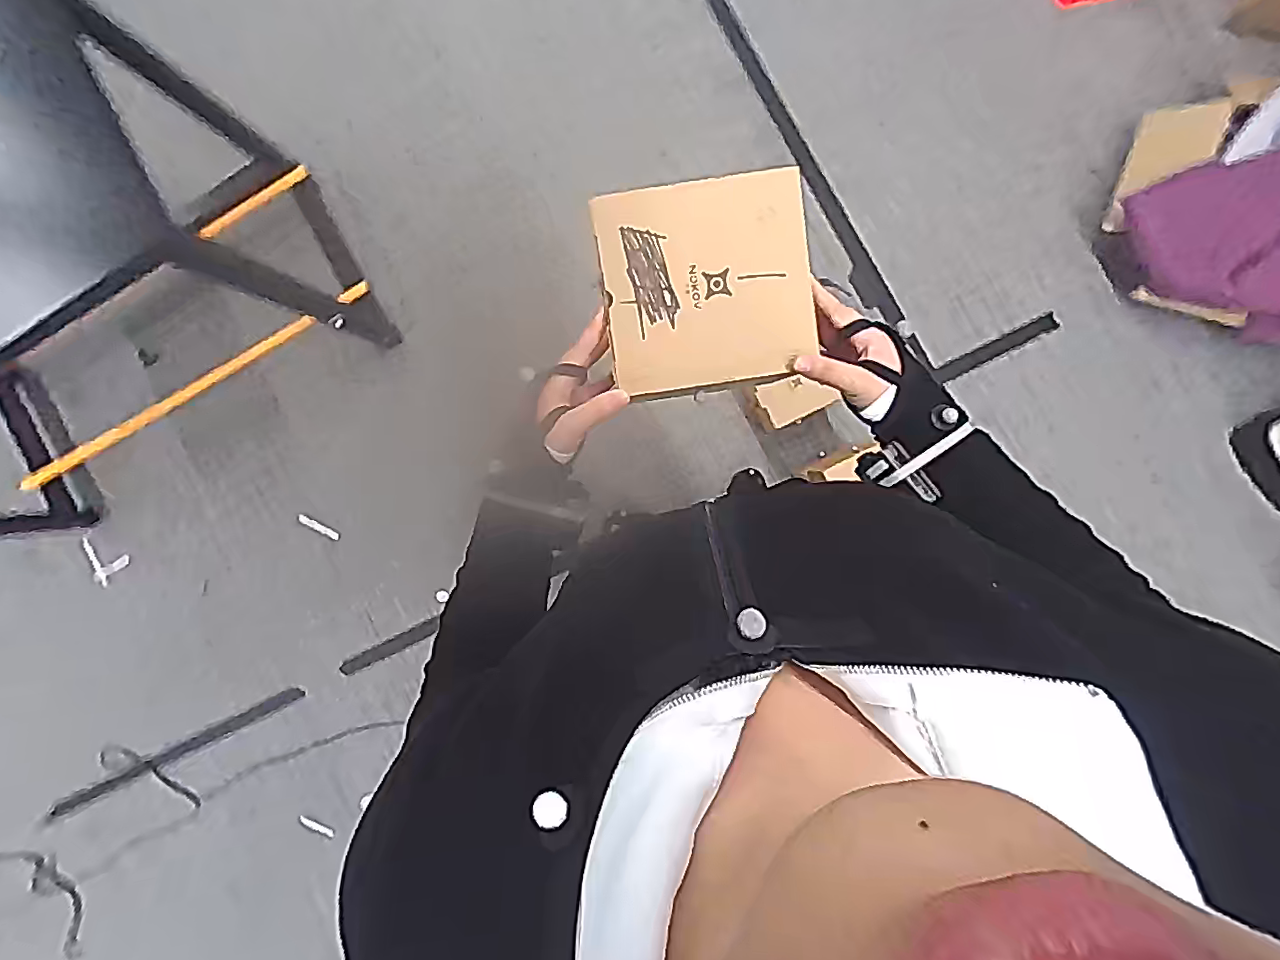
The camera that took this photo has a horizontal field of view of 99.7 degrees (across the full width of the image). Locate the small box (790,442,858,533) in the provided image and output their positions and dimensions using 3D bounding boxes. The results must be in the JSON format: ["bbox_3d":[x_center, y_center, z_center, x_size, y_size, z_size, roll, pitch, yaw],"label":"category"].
[{"bbox_3d":[0.509,0.014,1.386,0.168,0.176,0.179,-29,89,5],"label":"small box"}]

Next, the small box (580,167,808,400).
[{"bbox_3d":[0.047,-0.174,0.533,0.179,0.176,0.168,-9,97,0],"label":"small box"}]

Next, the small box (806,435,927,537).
[{"bbox_3d":[0.502,0.009,1.223,0.179,0.176,0.168,-27,88,7],"label":"small box"}]

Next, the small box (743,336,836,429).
[{"bbox_3d":[0.373,-0.240,1.391,0.179,0.176,0.168,-25,89,6],"label":"small box"}]
